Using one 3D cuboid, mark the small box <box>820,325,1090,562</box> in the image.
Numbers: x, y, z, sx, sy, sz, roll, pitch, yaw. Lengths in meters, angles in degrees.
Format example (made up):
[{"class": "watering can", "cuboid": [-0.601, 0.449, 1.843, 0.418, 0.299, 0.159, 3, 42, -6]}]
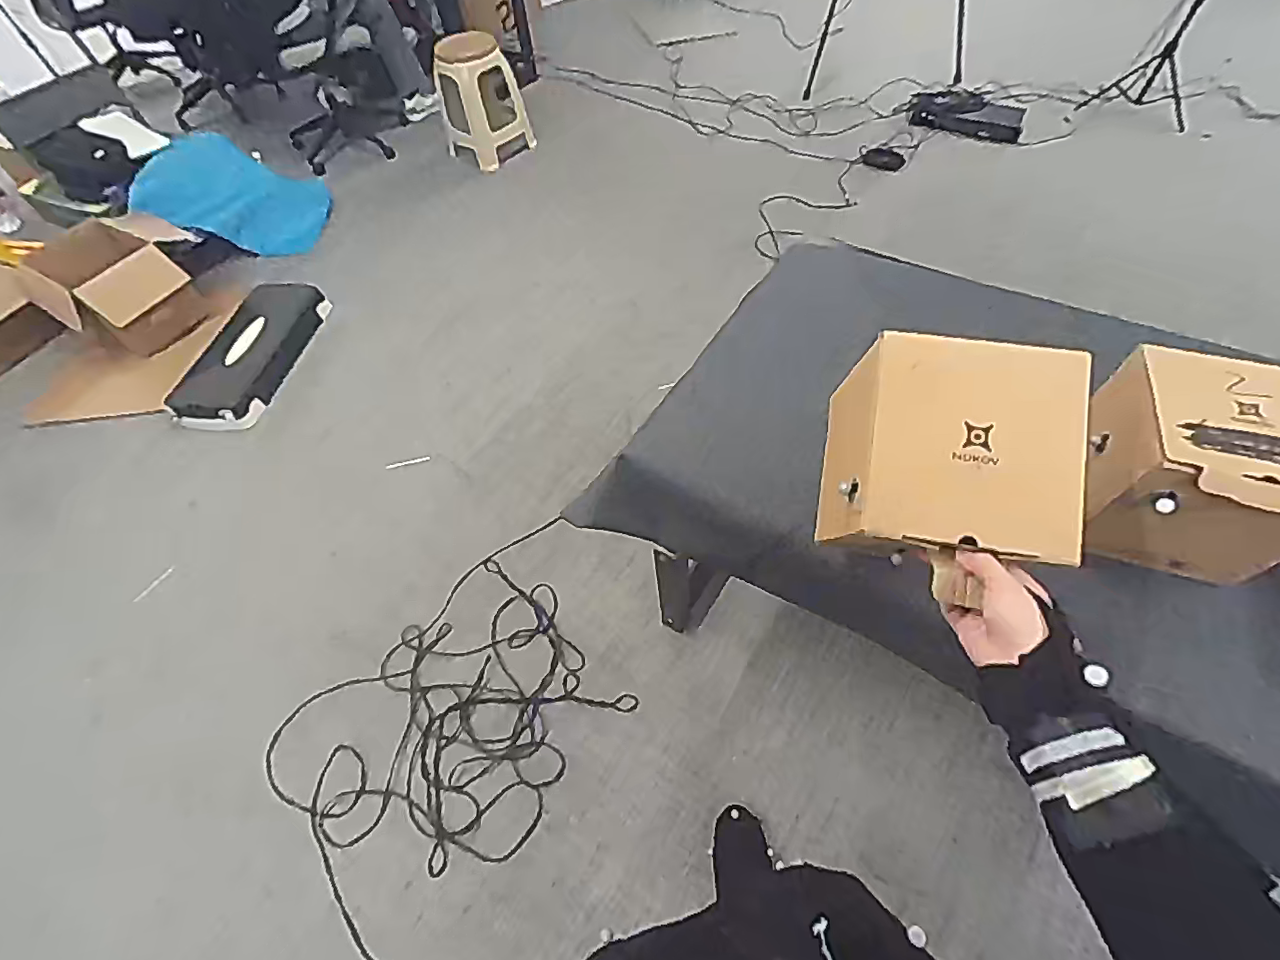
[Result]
[{"class": "small box", "cuboid": [0.279, -0.022, 0.515, 0.168, 0.176, 0.179, 8, 82, 7]}]
